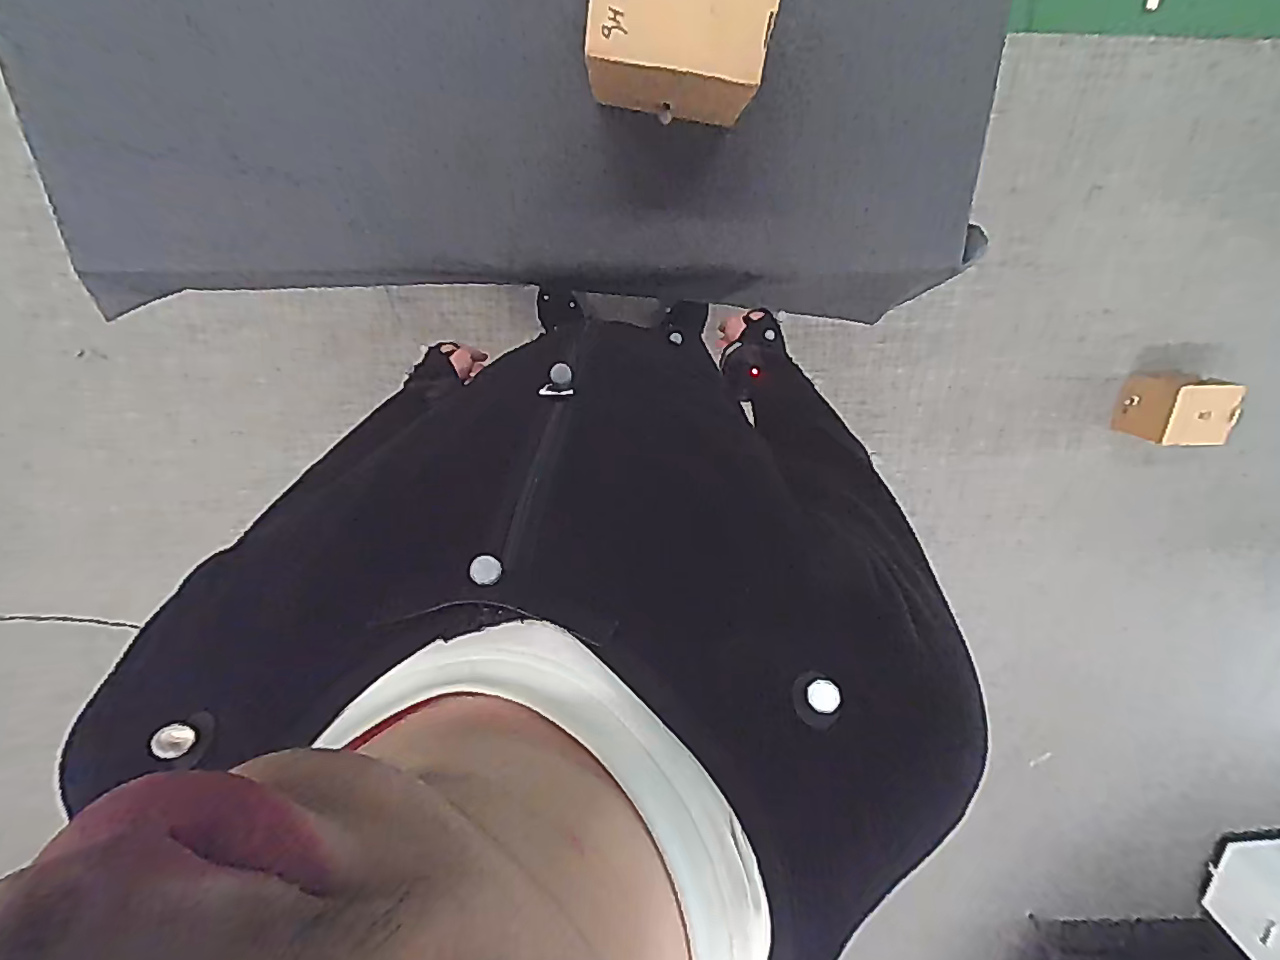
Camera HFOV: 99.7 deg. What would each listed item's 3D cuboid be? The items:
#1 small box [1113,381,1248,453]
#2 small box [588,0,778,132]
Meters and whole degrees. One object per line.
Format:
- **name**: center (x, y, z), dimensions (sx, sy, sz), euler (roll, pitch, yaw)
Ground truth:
- **small box**: center (1.485, -0.179, 1.497), dimensions (0.179, 0.176, 0.168), euler (2, 109, -2)
- **small box**: center (0.043, -0.495, 0.582), dimensions (0.179, 0.176, 0.168), euler (7, 111, -4)
